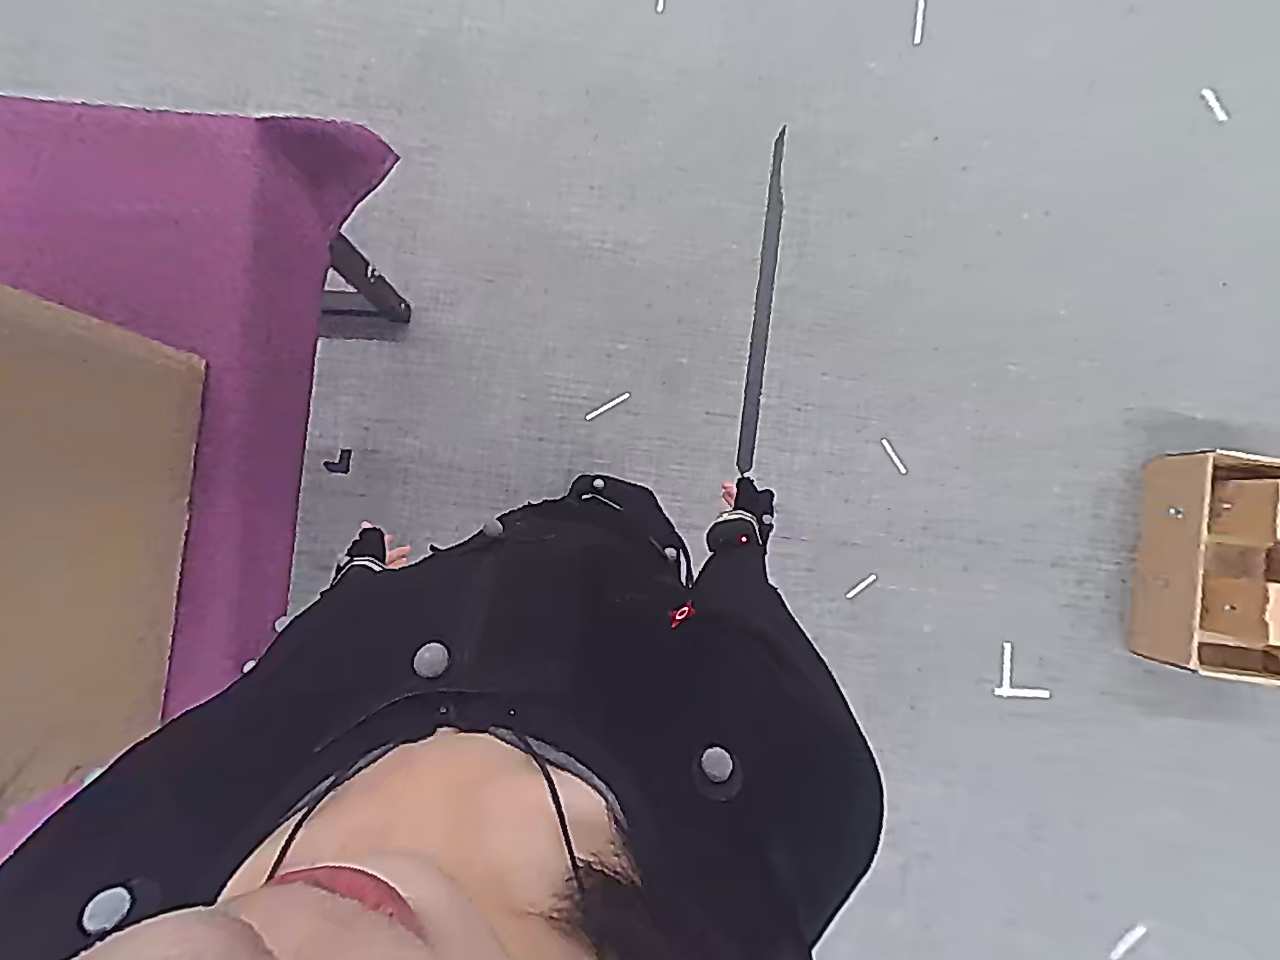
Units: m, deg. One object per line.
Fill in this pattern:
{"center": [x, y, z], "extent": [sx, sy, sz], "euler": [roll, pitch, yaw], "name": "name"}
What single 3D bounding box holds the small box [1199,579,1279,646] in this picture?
{"center": [1.756, 0.377, 1.537], "extent": [0.179, 0.176, 0.168], "euler": [9, 83, -3], "name": "small box"}
